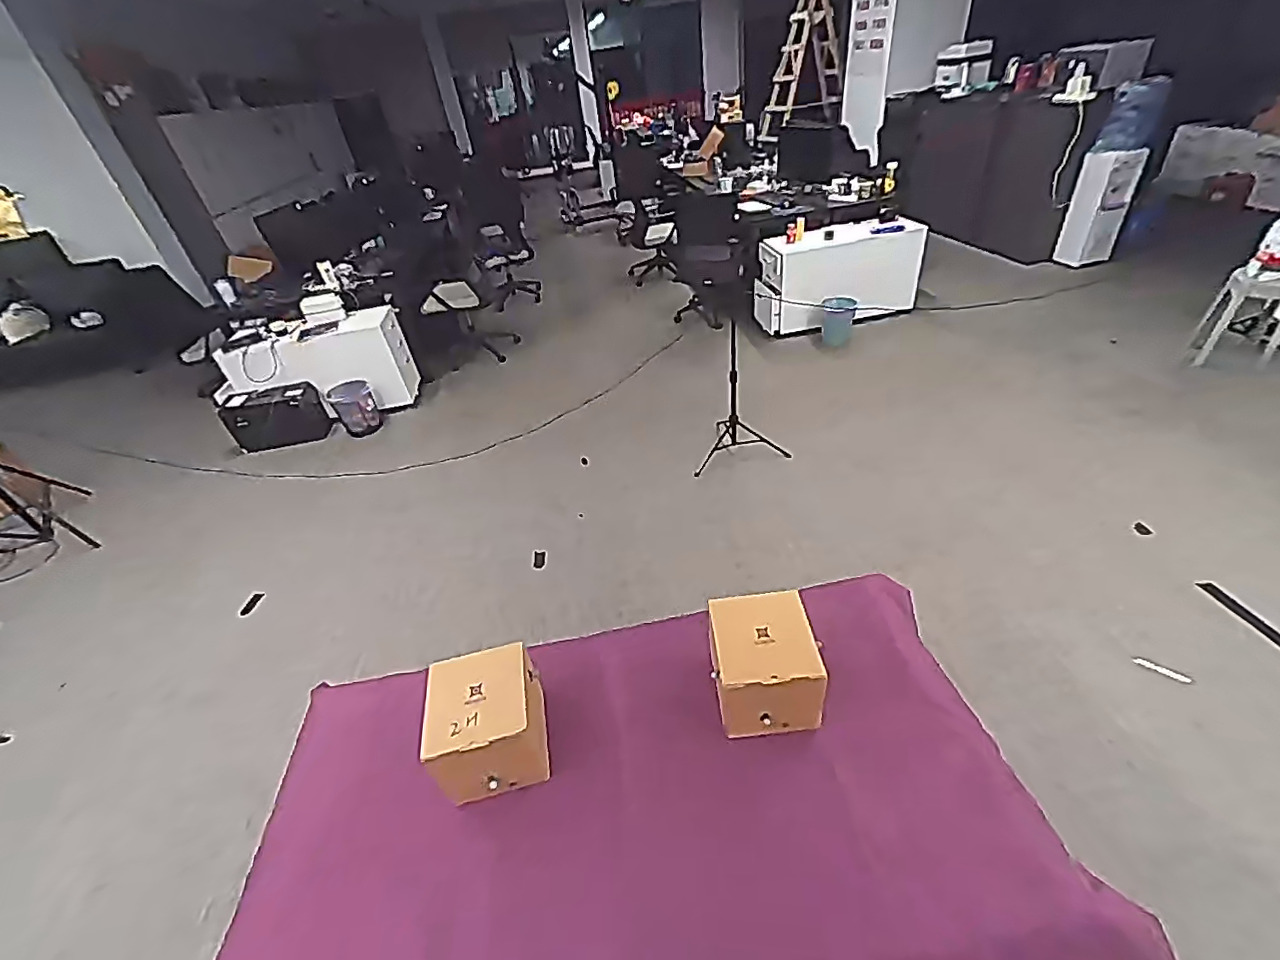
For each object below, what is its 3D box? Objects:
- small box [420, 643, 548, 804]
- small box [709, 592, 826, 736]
[{"bbox_3d":[-0.261,0.419,0.936,0.168,0.176,0.179,-13,37,-6],"label":"small box"},{"bbox_3d":[0.217,0.327,0.963,0.168,0.176,0.179,-8,38,2],"label":"small box"}]
